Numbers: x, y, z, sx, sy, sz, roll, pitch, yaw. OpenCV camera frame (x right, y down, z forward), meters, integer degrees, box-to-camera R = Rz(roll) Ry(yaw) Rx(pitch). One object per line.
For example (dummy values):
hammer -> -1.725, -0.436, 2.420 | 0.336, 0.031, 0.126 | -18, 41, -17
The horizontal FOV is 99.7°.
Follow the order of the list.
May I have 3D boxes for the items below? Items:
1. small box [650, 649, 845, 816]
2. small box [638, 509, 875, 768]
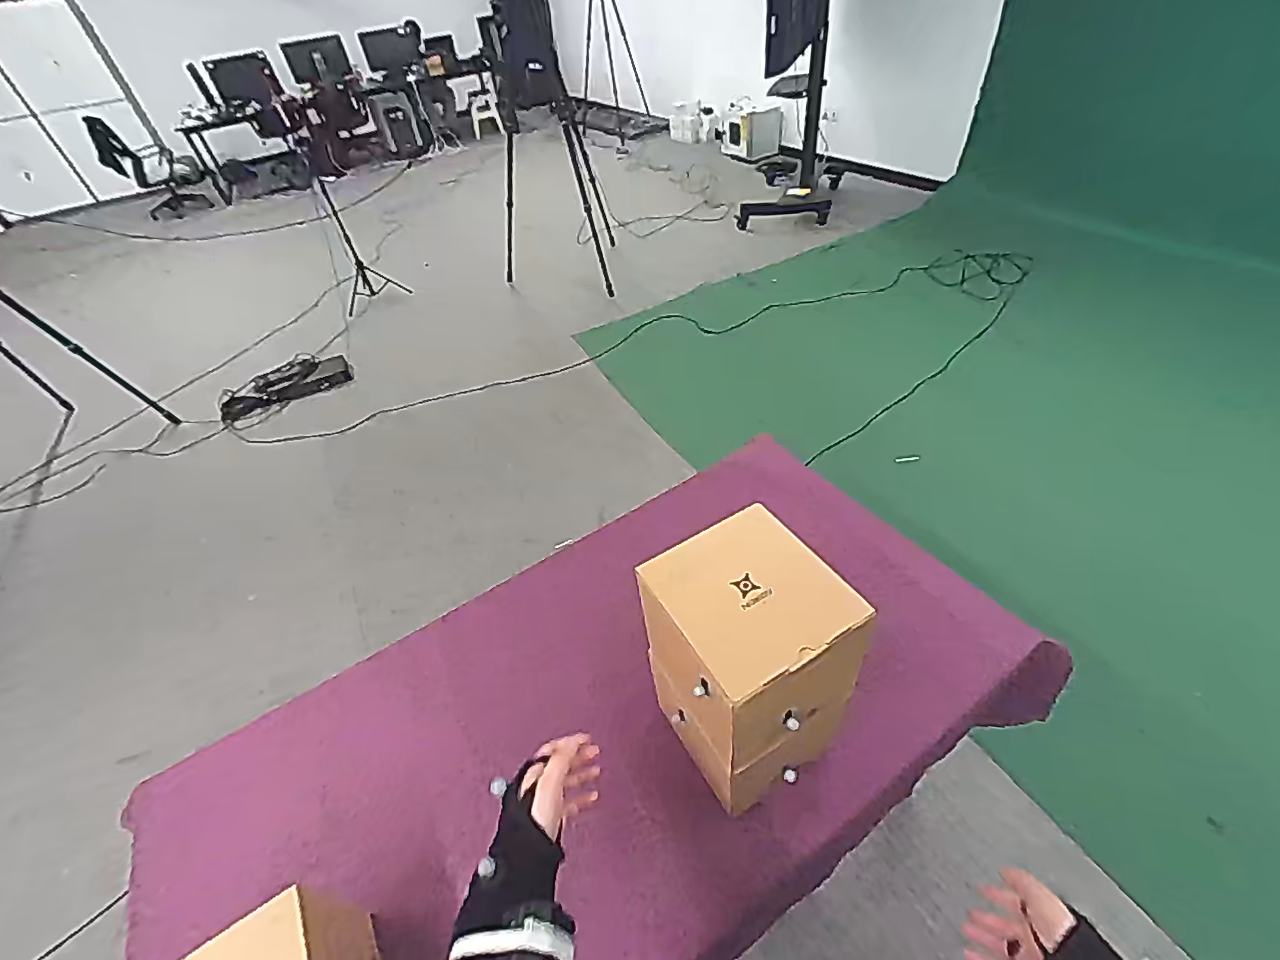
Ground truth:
small box -> 0.130, 0.287, 0.698 | 0.168, 0.176, 0.179 | -26, 46, -16
small box -> 0.113, 0.169, 0.586 | 0.168, 0.176, 0.179 | -26, 47, -17
